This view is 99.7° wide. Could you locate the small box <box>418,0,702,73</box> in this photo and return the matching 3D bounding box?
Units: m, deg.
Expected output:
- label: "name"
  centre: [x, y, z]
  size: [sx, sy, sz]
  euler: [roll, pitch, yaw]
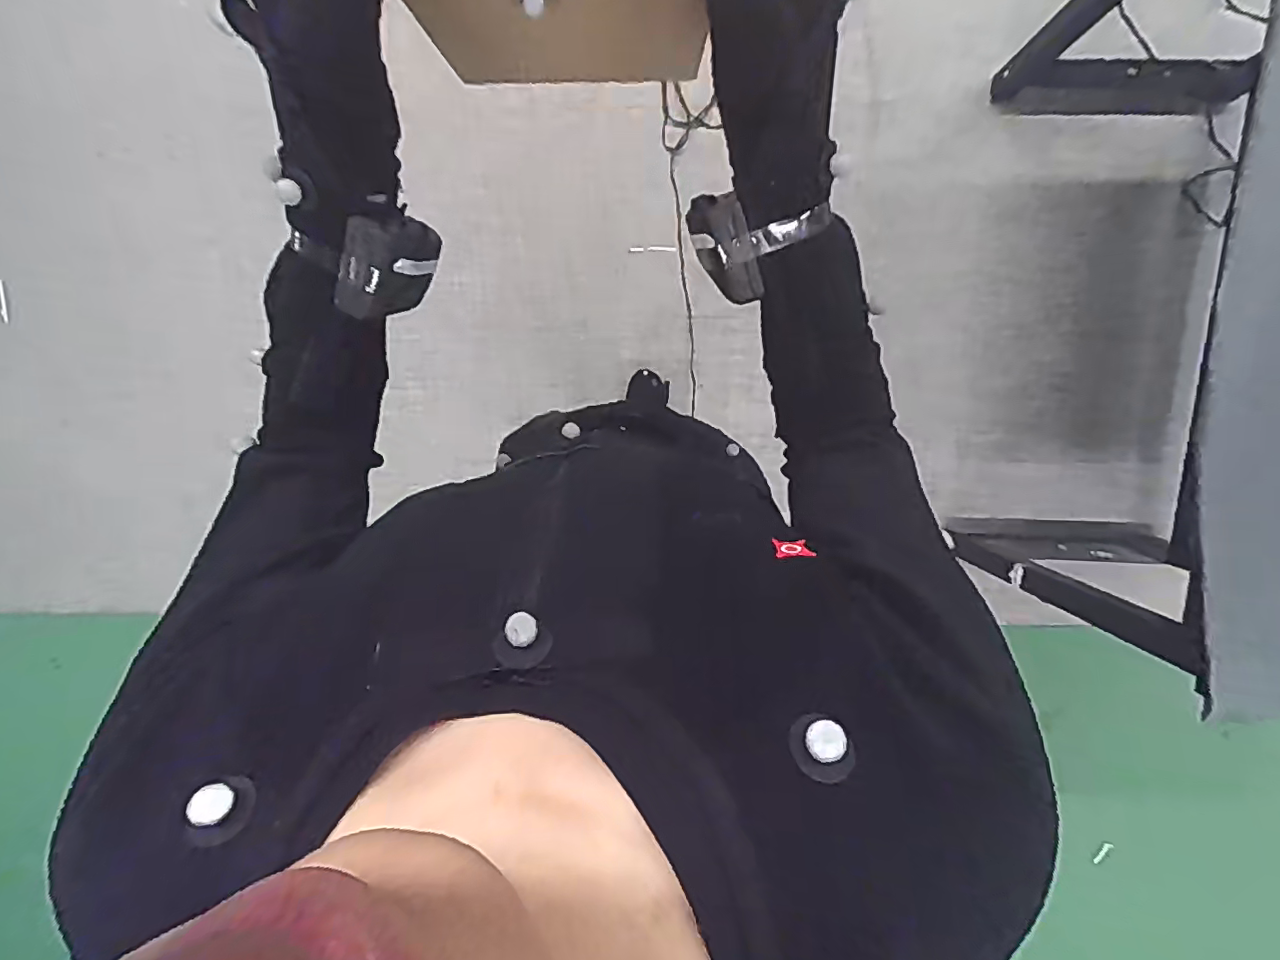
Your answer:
- label: "small box"
  centre: [-0.048, -0.352, 0.297]
  size: [0.179, 0.176, 0.168]
  euler: [-1, 107, -1]
